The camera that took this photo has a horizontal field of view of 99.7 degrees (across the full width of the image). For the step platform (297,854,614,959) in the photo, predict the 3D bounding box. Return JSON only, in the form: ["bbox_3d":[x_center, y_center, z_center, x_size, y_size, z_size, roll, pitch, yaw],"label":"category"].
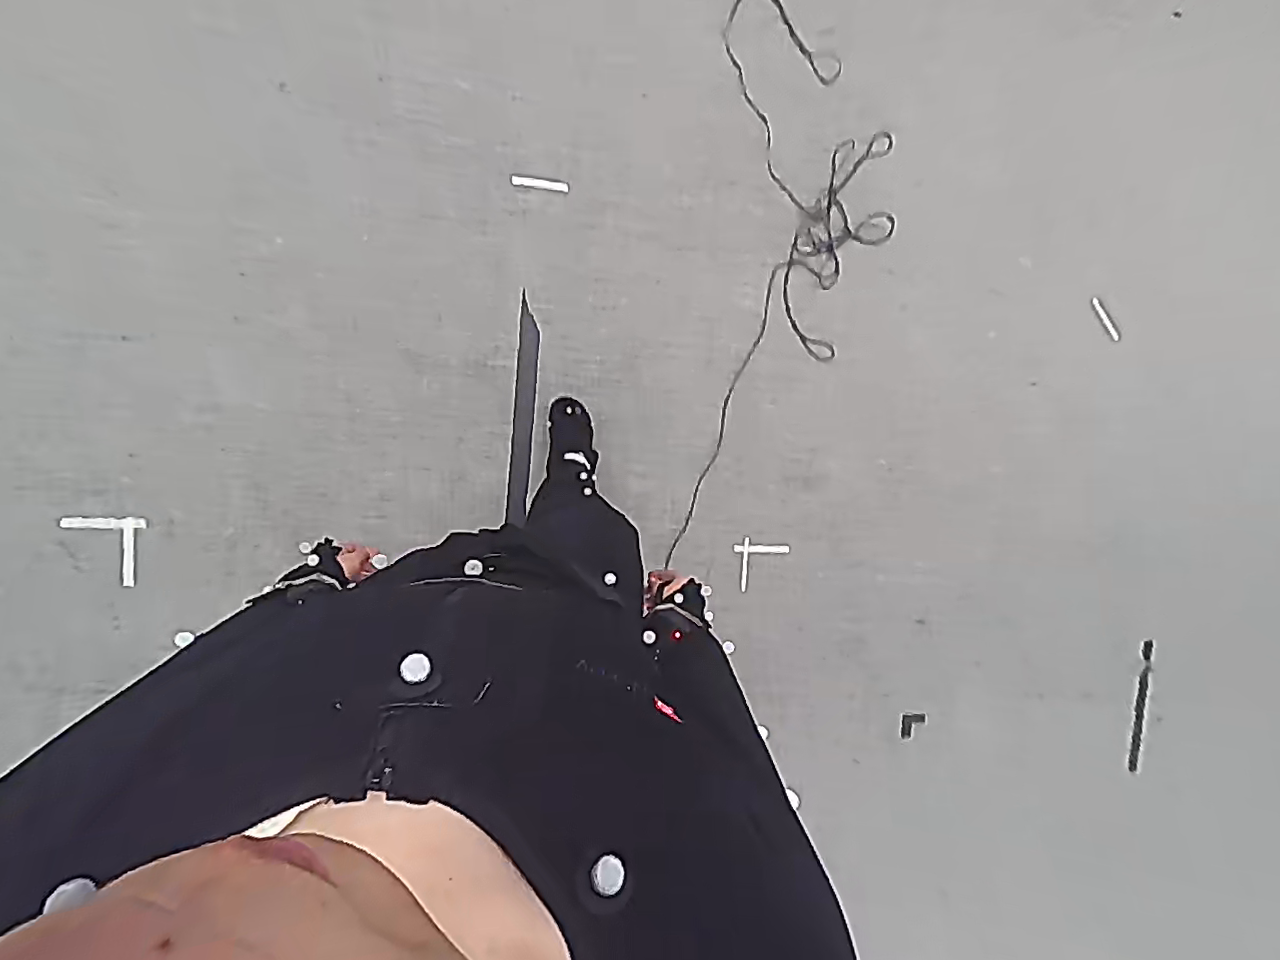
[{"bbox_3d":[-0.402,1.079,1.236,0.684,0.204,0.286,9,89,-6],"label":"step platform"}]
